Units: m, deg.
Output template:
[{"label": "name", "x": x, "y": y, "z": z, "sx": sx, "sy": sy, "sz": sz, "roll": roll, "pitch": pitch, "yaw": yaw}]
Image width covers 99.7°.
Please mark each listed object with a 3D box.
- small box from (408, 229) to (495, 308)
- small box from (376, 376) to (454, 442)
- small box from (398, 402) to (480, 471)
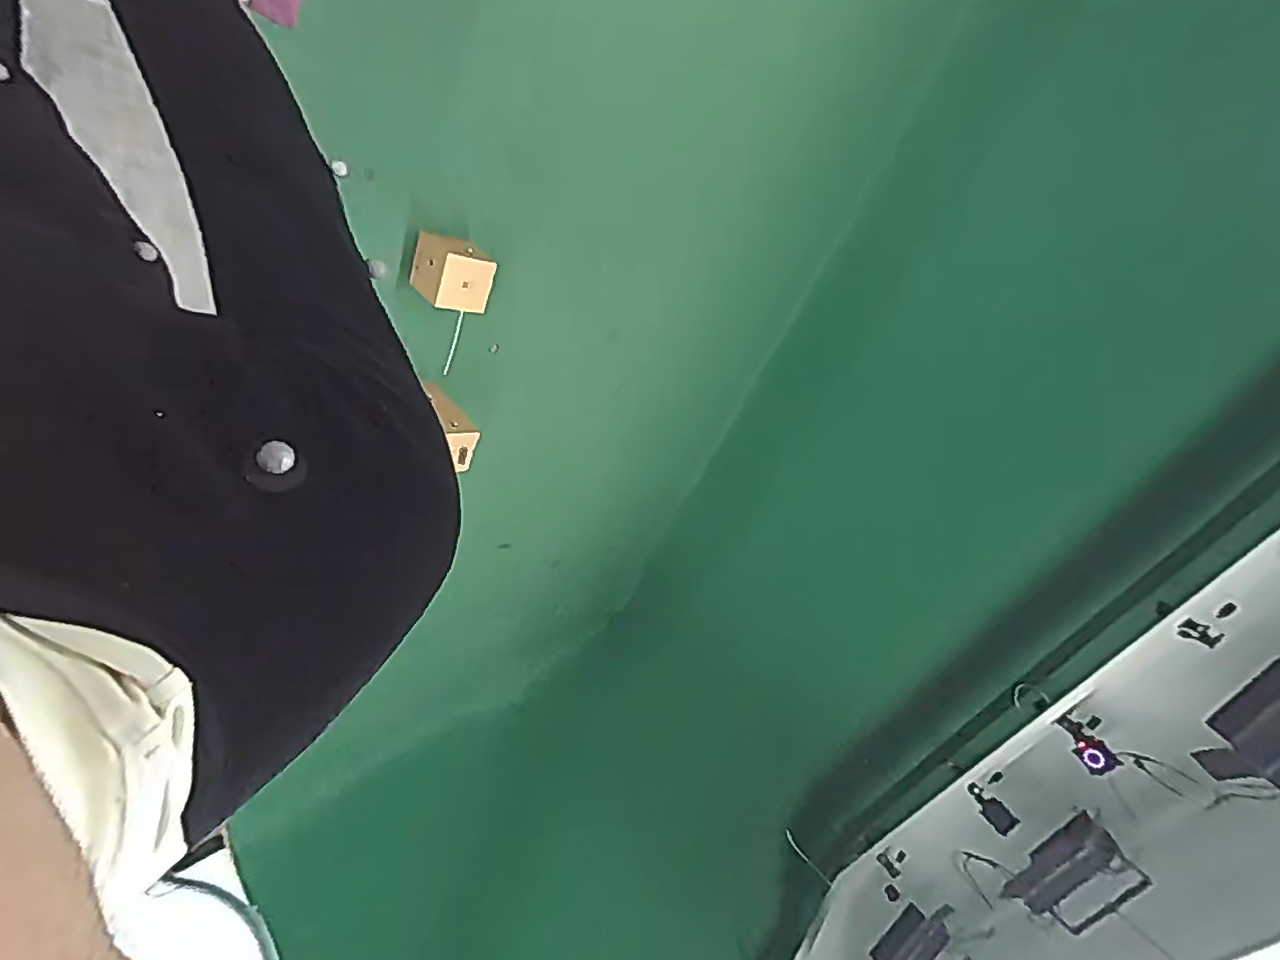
[{"label": "small box", "x": -0.584, "y": -0.651, "z": 1.665, "sx": 0.179, "sy": 0.176, "sz": 0.168, "roll": -14, "pitch": 137, "yaw": -51}, {"label": "small box", "x": -0.789, "y": -0.251, "z": 1.889, "sx": 0.179, "sy": 0.176, "sz": 0.168, "roll": -11, "pitch": 136, "yaw": -52}, {"label": "small box", "x": -0.678, "y": -0.151, "z": 1.820, "sx": 0.179, "sy": 0.176, "sz": 0.168, "roll": -12, "pitch": 136, "yaw": -51}]
